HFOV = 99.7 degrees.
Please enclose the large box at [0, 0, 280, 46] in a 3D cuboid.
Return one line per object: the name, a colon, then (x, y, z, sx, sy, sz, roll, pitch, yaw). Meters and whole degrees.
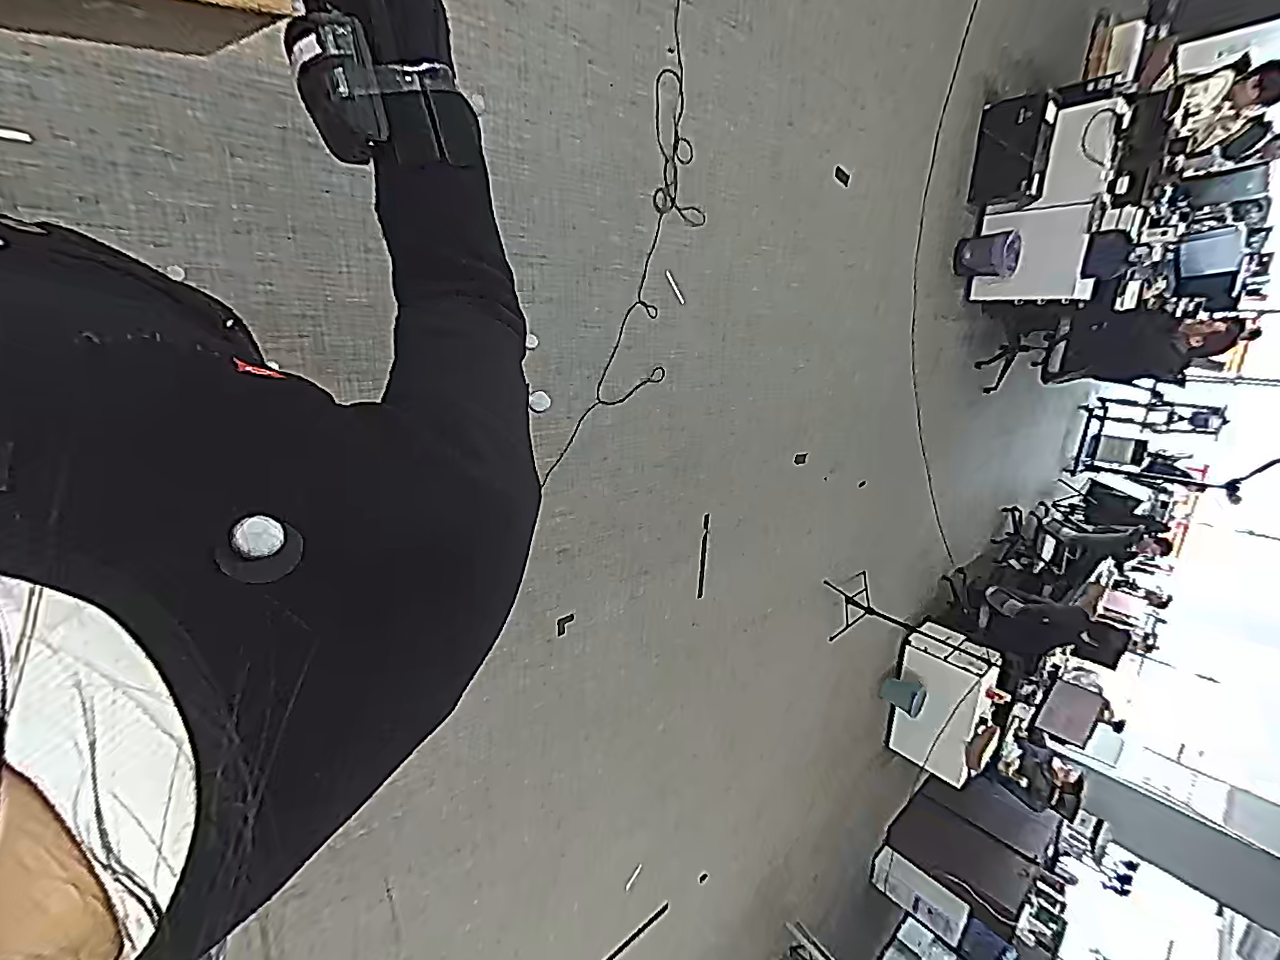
large box: (-0.439, -0.398, 0.204, 0.408, 0.320, 0.320, -23, 131, -37)
